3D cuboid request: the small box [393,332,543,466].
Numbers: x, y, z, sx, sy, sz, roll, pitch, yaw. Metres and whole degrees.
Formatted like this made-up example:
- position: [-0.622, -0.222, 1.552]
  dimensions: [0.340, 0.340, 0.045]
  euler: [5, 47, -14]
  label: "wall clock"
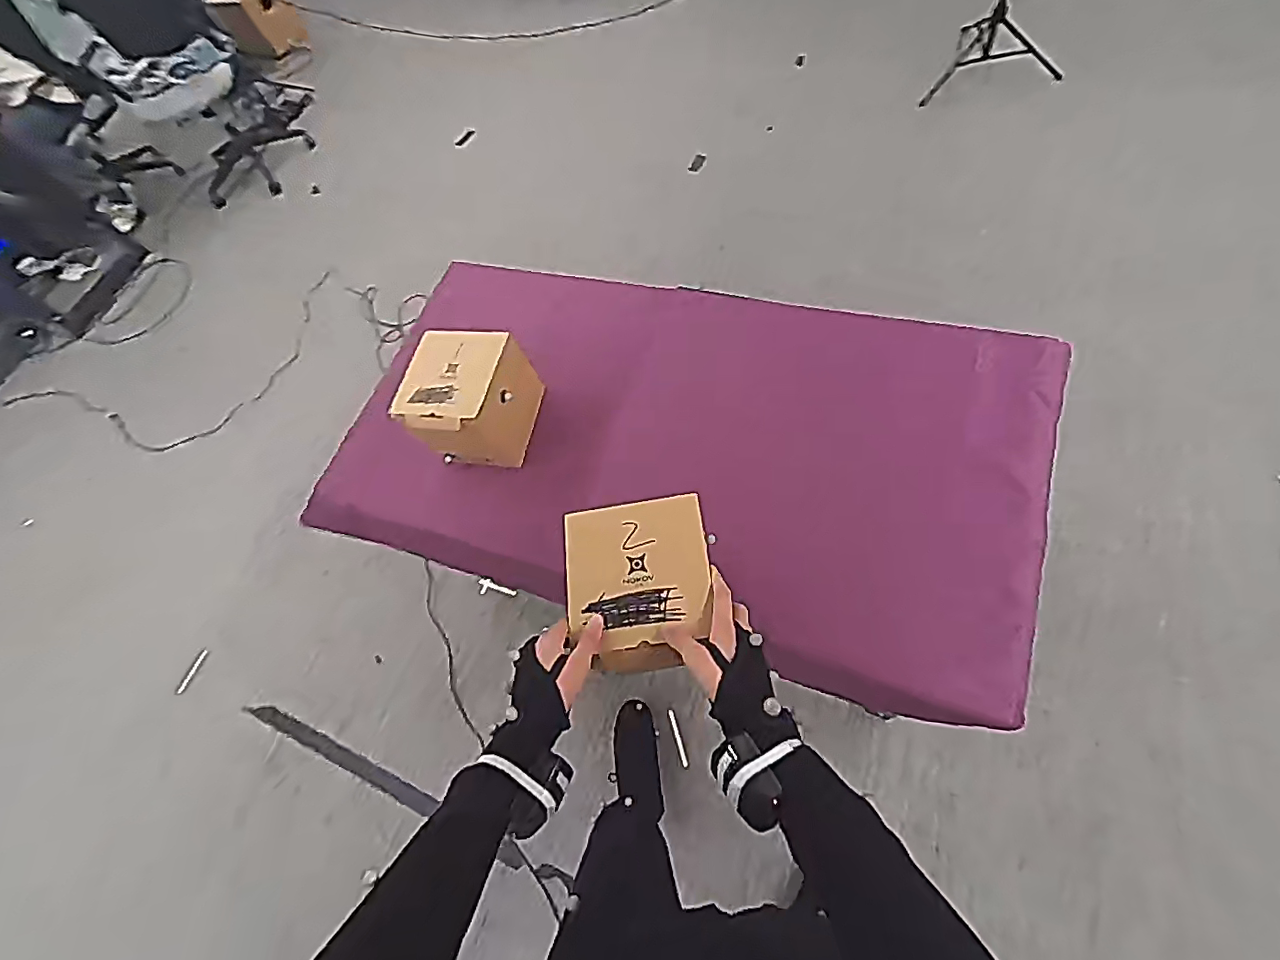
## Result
- position: [-0.290, -0.138, 0.953]
  dimensions: [0.168, 0.176, 0.179]
  euler: [6, 66, 15]
  label: "small box"
